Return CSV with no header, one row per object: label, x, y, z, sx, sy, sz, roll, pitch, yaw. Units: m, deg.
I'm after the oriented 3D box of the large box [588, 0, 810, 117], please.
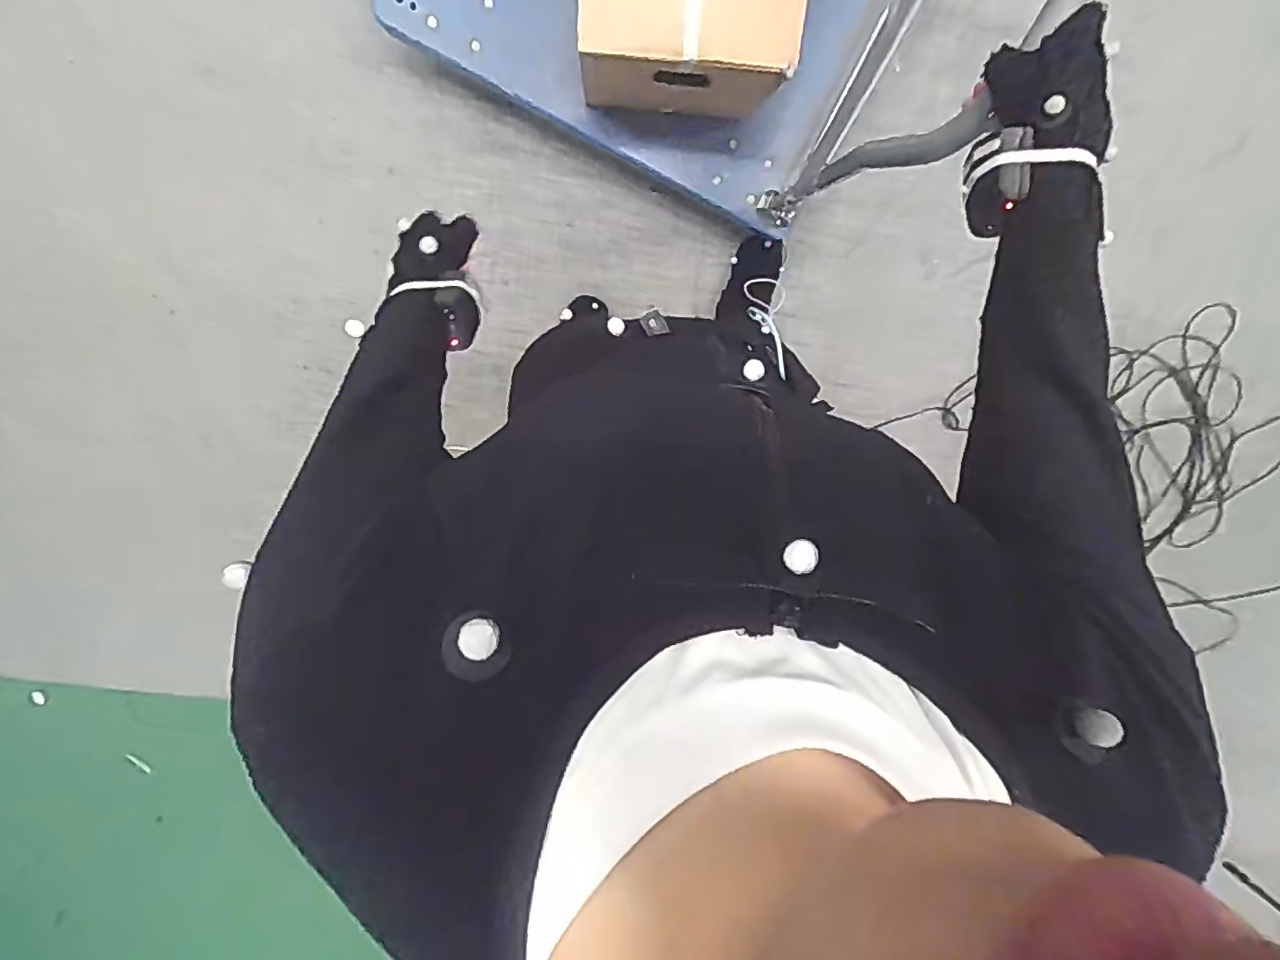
large box,0.078,-0.830,0.827,0.320,0.320,0.408,2,114,-3
